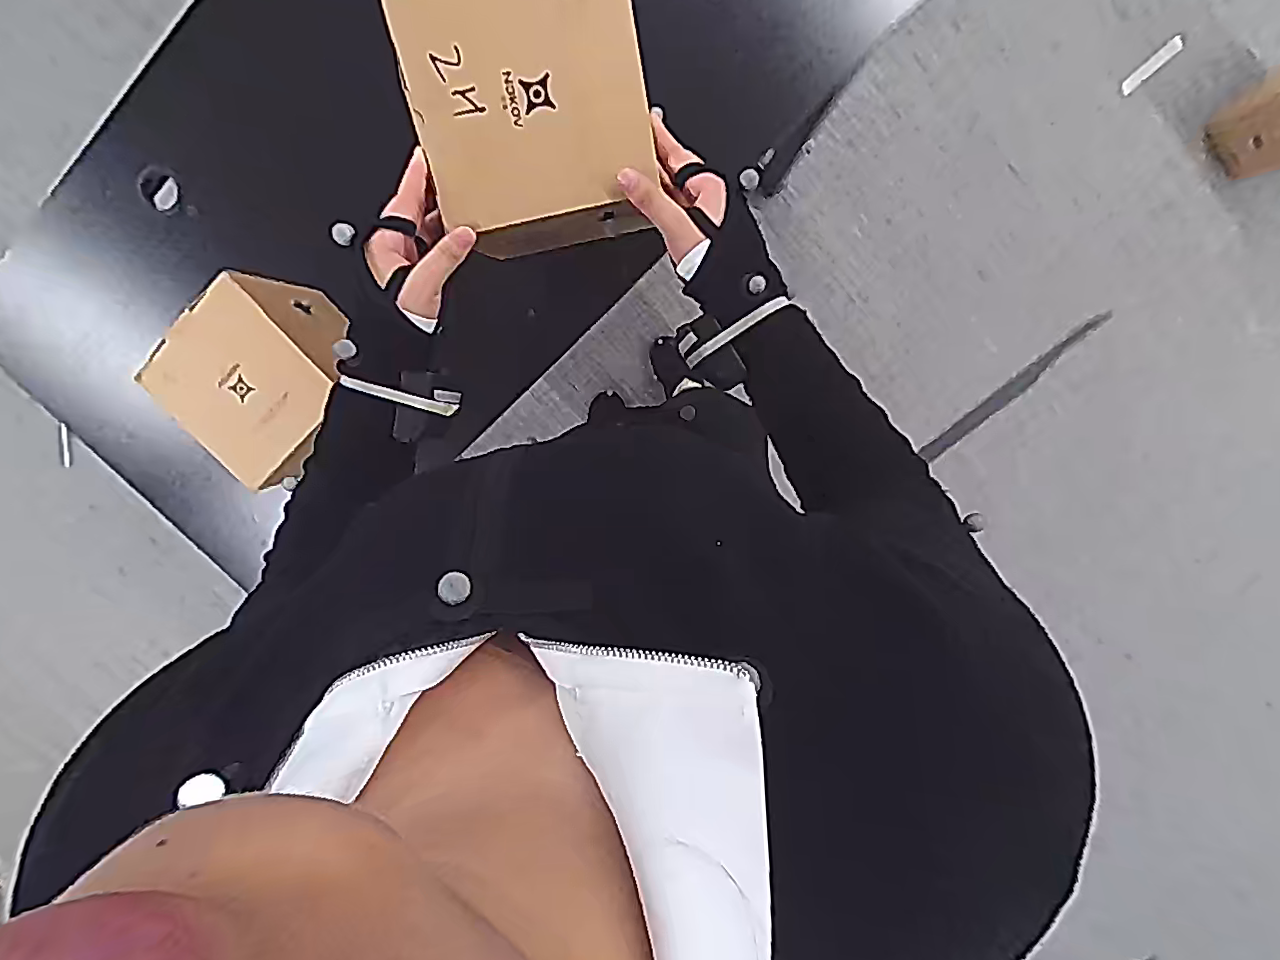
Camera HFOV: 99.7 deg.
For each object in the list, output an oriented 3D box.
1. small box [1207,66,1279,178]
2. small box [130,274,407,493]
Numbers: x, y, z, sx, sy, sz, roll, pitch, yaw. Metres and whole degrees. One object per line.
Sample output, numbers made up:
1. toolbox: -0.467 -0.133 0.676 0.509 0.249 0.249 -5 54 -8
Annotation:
1. small box: 1.420 -0.807 1.184 0.179 0.176 0.168 -39 98 10
2. small box: -0.428 -0.113 0.654 0.168 0.176 0.179 -42 97 10
